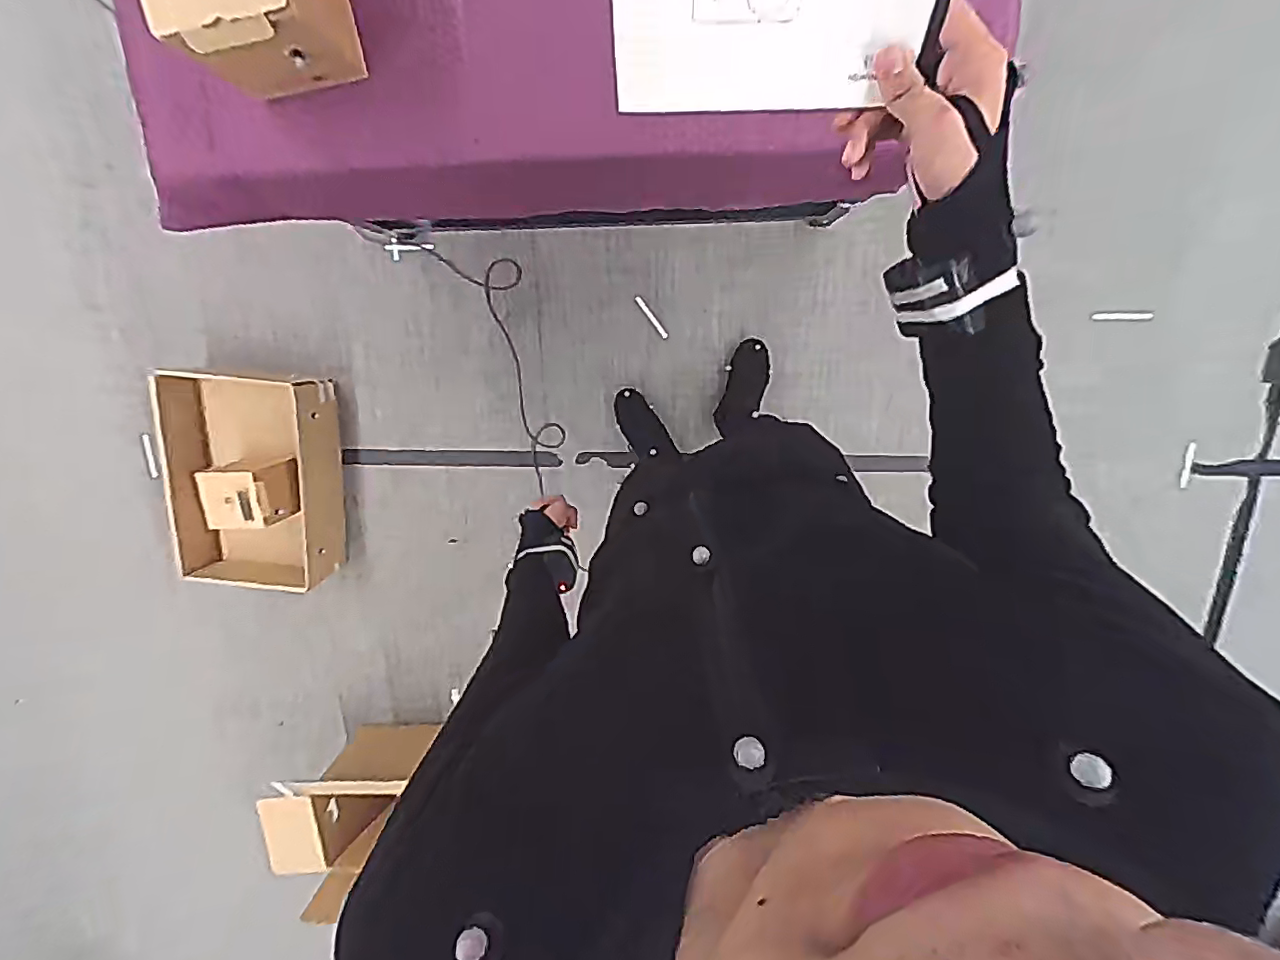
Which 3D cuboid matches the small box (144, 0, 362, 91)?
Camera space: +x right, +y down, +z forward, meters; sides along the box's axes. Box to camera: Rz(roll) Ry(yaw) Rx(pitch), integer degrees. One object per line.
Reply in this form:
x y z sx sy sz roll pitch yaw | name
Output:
-0.474 -0.610 0.660 0.168 0.176 0.179 -8 104 4 | small box
